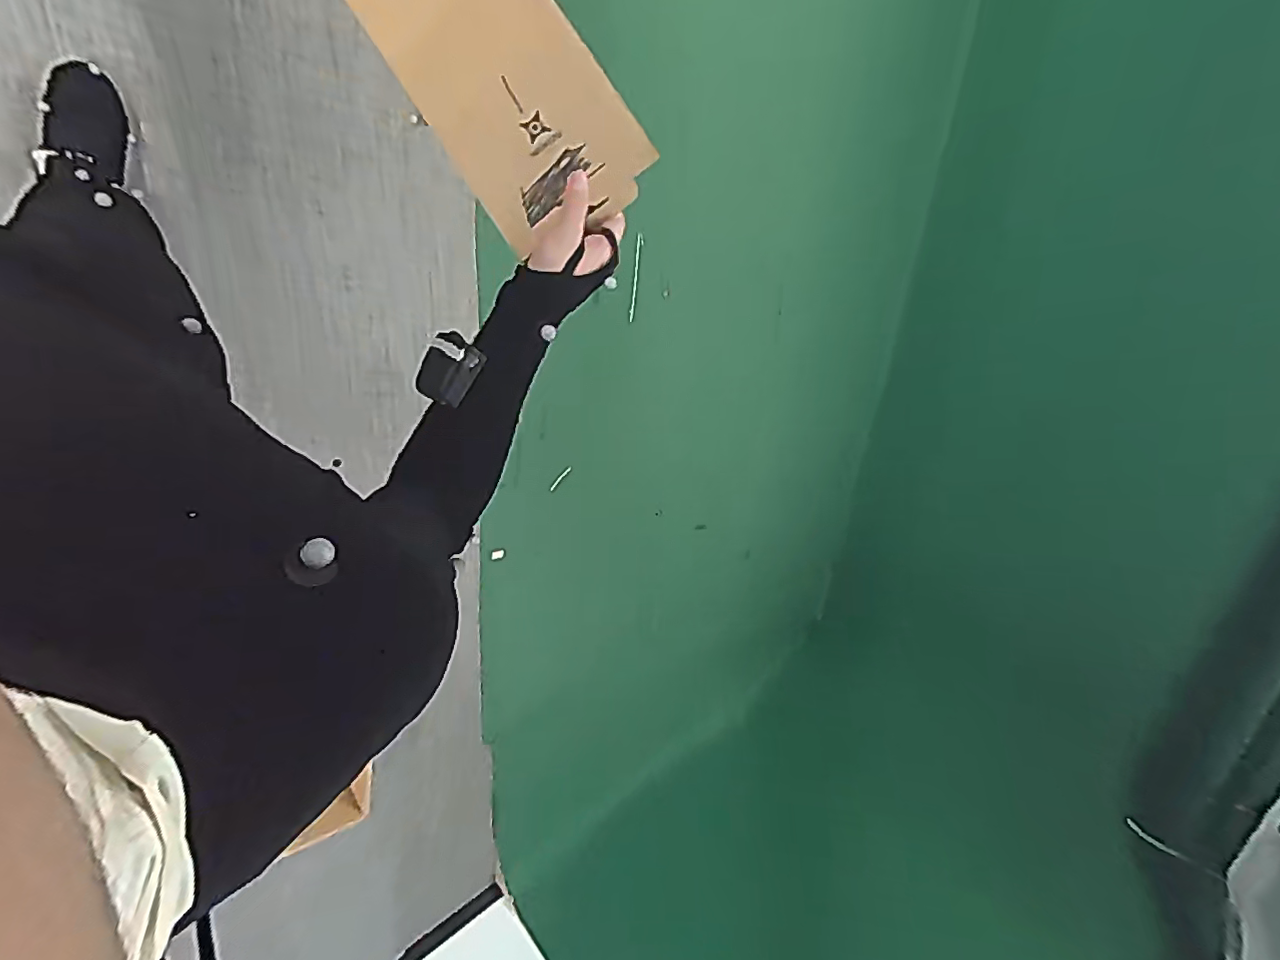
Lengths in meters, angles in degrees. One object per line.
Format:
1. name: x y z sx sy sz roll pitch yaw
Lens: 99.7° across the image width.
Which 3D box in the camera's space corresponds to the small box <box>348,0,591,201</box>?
1. small box: -0.178 -0.461 0.589 0.168 0.176 0.179 -35 173 2
